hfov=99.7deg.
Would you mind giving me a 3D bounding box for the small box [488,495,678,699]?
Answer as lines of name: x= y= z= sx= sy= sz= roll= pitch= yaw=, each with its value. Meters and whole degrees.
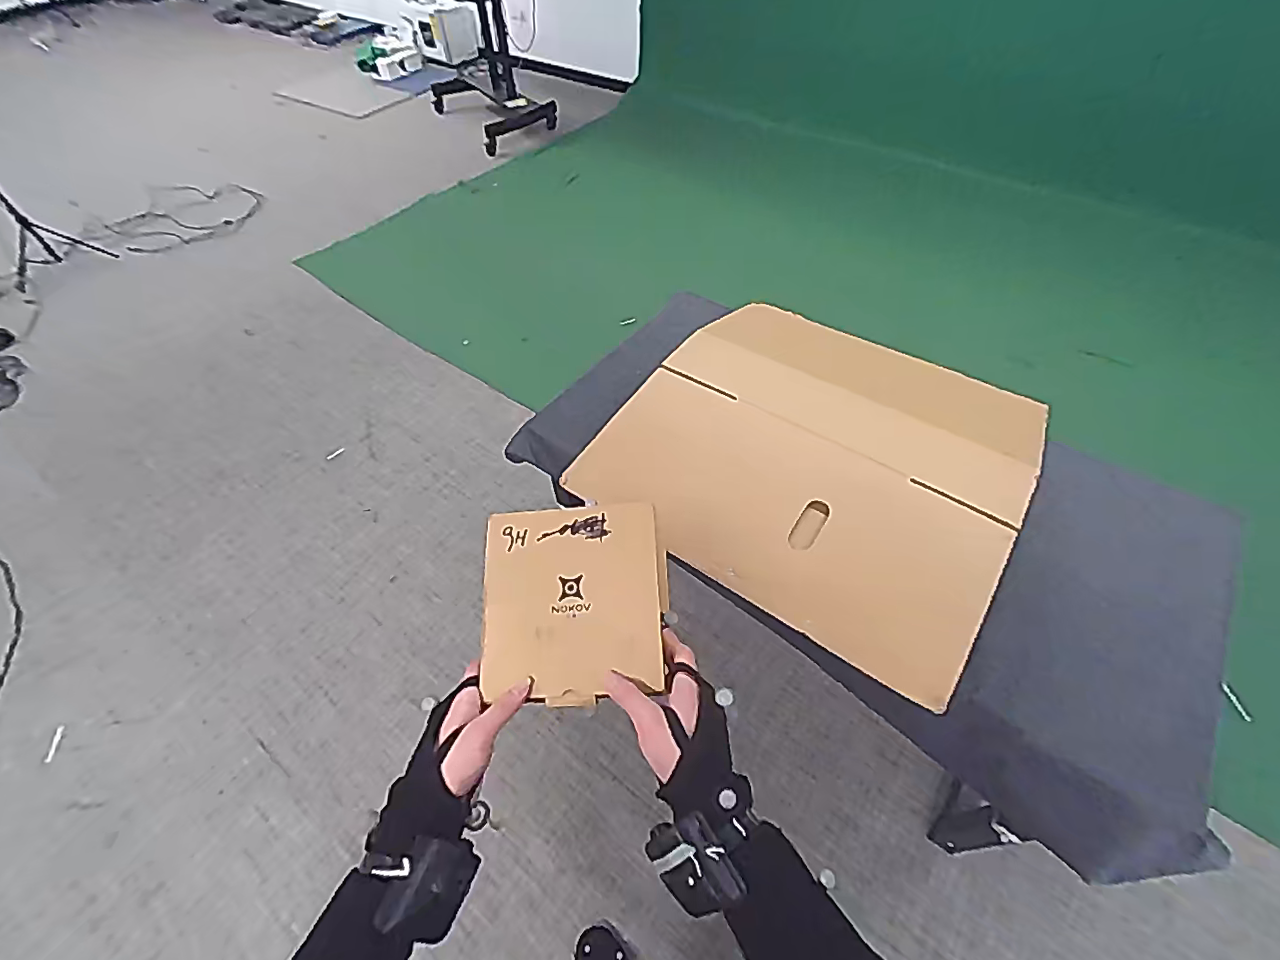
small box: x=-0.052 y=0.132 z=0.579 sx=0.168 sy=0.176 sz=0.179 roll=-7 pitch=68 yaw=4
